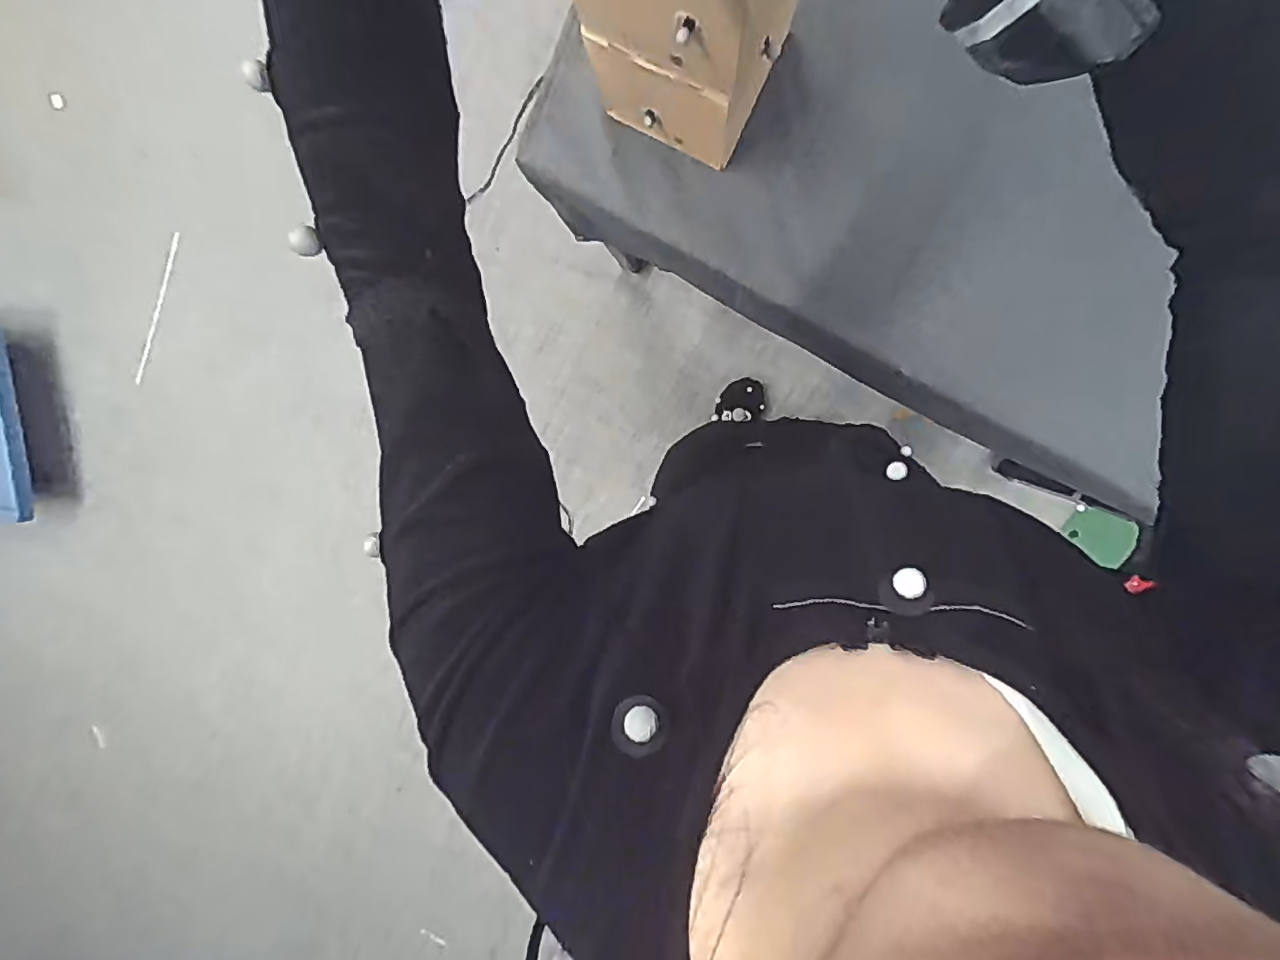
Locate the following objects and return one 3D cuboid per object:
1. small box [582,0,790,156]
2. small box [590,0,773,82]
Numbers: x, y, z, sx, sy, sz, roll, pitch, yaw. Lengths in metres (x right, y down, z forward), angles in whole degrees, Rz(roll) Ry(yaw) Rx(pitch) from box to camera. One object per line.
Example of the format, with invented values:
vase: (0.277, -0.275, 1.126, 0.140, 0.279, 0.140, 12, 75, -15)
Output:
small box: (0.058, -0.495, 0.579, 0.168, 0.176, 0.179, 27, 103, 0)
small box: (0.045, -0.464, 0.419, 0.168, 0.176, 0.179, 27, 103, -1)
